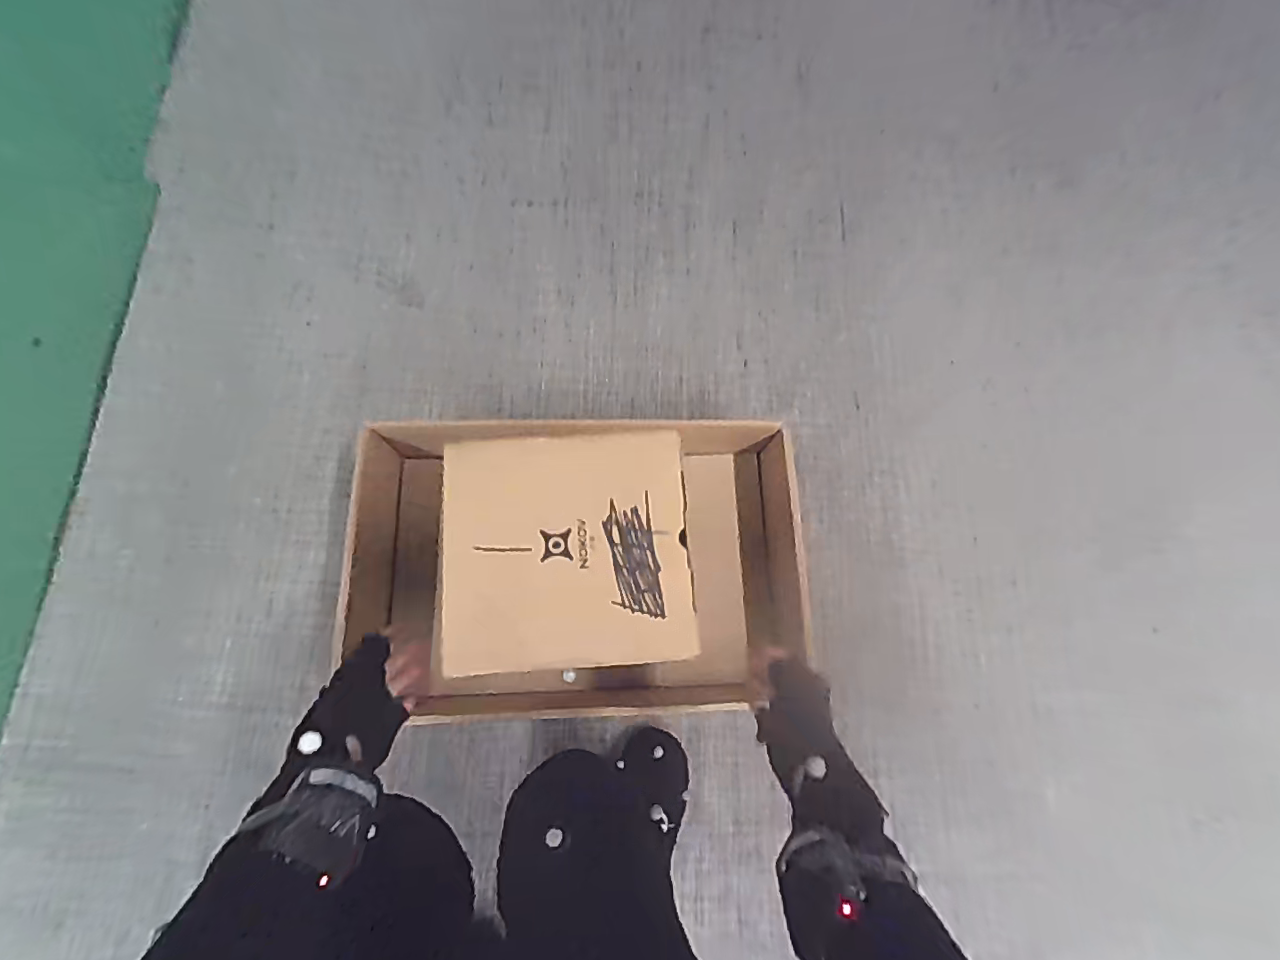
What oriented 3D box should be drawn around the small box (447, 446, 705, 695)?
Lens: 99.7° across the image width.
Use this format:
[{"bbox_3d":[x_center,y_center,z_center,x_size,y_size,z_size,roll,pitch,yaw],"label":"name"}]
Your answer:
[{"bbox_3d":[-0.055,0.078,0.468,0.179,0.176,0.168,-6,76,-6],"label":"small box"}]
